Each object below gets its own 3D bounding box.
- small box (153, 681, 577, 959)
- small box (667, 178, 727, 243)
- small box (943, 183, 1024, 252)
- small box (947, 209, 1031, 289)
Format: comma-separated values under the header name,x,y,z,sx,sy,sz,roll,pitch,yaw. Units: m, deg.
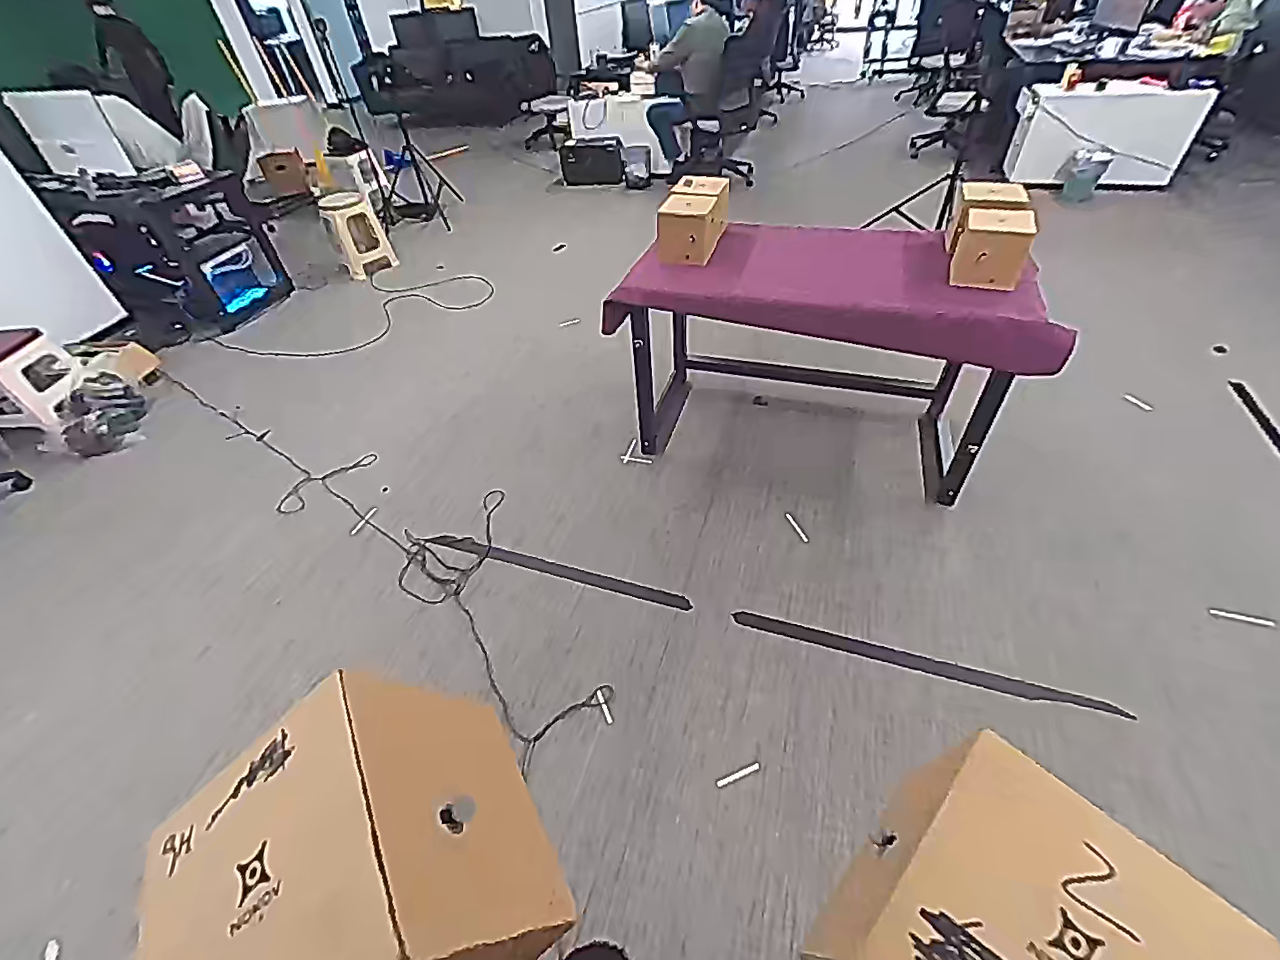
name,x,y,z,sx,sy,sz,roll,pitch,yaw
small box,-0.171,0.269,0.362,0.168,0.176,0.179,-42,52,-3
small box,0.207,-0.979,1.966,0.179,0.176,0.168,13,49,16
small box,1.087,-0.833,1.729,0.179,0.176,0.168,12,48,16
small box,1.017,-0.677,1.586,0.168,0.176,0.179,14,46,20
